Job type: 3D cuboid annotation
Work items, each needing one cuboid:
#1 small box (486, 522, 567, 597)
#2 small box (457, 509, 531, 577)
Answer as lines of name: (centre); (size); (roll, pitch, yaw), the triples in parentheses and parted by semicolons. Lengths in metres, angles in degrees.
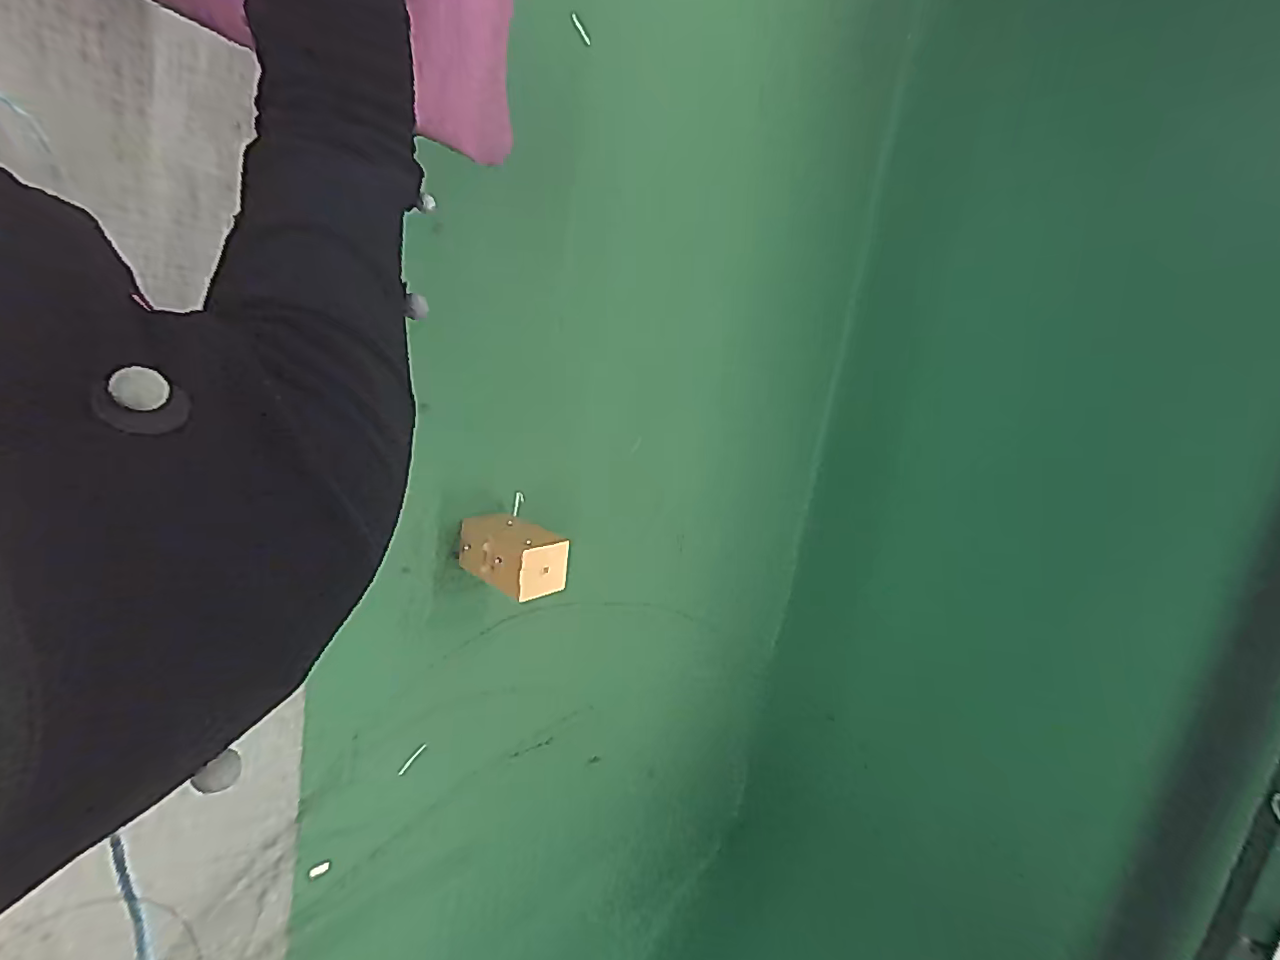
small box: (-0.353, 0.237, 1.674); (0.179, 0.176, 0.168); (-8, 110, -47)
small box: (-0.474, 0.199, 1.776); (0.179, 0.176, 0.168); (-5, 108, -49)
